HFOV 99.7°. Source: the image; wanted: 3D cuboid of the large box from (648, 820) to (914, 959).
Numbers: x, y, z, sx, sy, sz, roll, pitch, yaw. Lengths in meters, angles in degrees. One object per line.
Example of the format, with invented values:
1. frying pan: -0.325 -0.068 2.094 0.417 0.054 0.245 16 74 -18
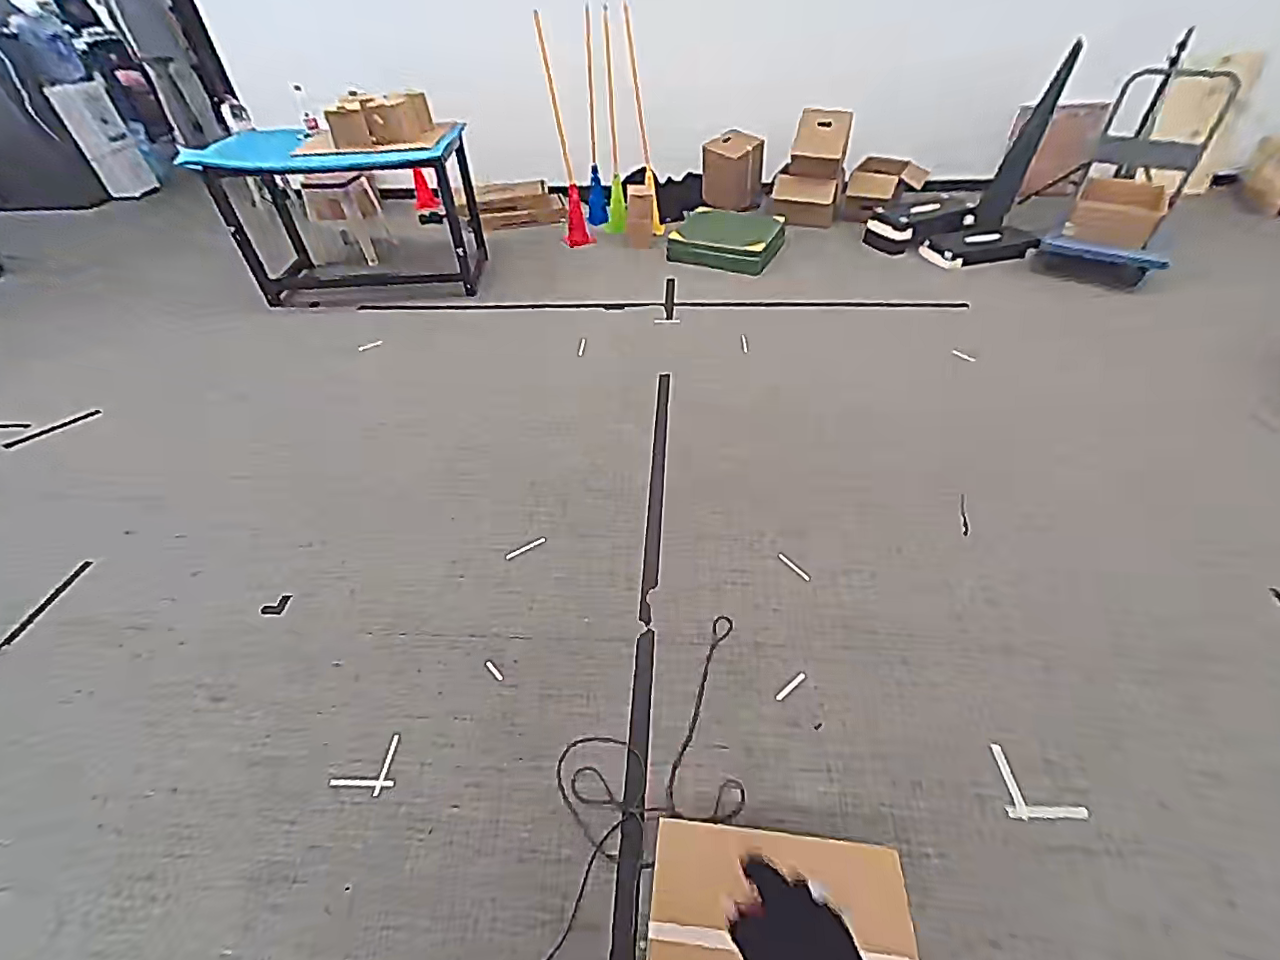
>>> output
1. large box: 0.216 0.824 0.926 0.408 0.320 0.320 4 44 6
